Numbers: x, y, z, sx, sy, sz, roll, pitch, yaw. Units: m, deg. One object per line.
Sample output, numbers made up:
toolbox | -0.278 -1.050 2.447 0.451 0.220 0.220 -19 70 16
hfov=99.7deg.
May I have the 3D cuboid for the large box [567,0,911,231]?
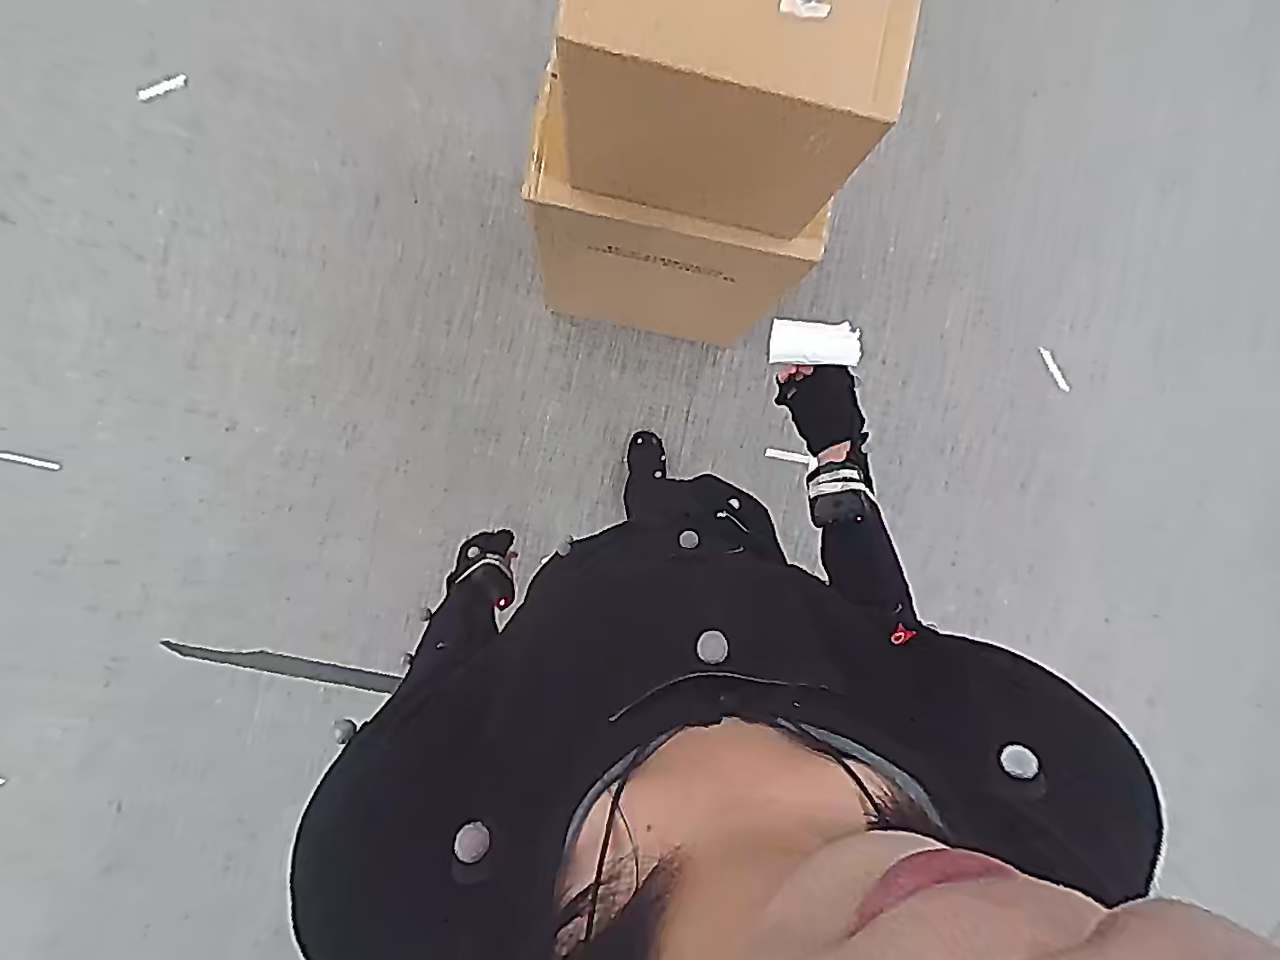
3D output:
large box | 0.116 -0.611 0.779 0.408 0.320 0.320 10 89 -6
